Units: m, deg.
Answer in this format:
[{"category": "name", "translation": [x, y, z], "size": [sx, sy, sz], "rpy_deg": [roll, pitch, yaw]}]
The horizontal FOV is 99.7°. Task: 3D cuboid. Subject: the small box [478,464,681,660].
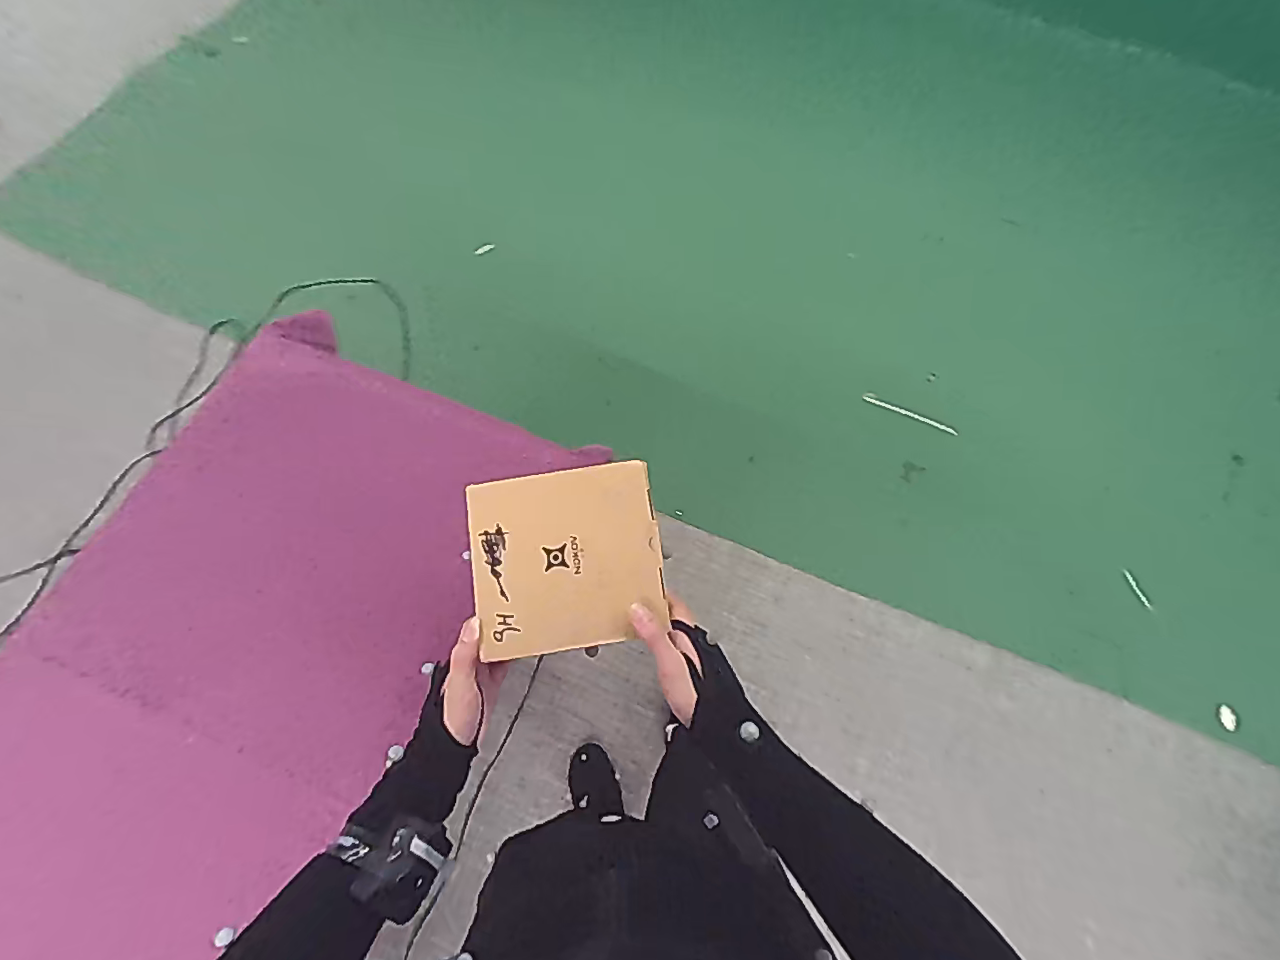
[{"category": "small box", "translation": [-0.059, 0.090, 0.571], "size": [0.179, 0.176, 0.168], "rpy_deg": [-7, 76, -2]}]
